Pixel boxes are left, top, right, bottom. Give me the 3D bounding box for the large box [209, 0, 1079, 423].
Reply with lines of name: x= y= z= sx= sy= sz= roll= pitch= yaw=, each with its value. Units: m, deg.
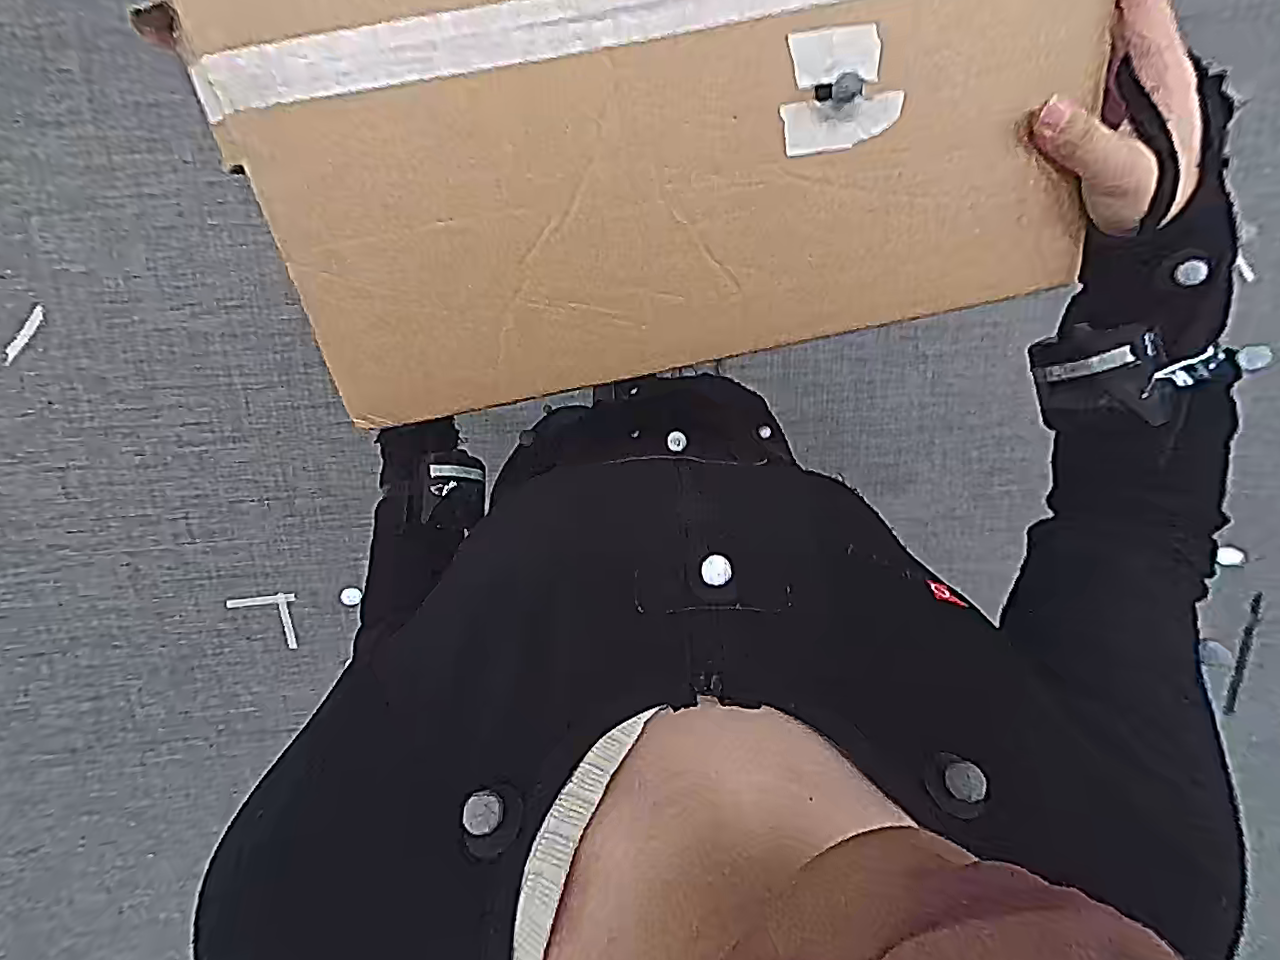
large box: x=-0.003 y=-0.265 z=0.387 sx=0.408 sy=0.320 sz=0.320 roll=-13 pitch=113 yaw=-3
